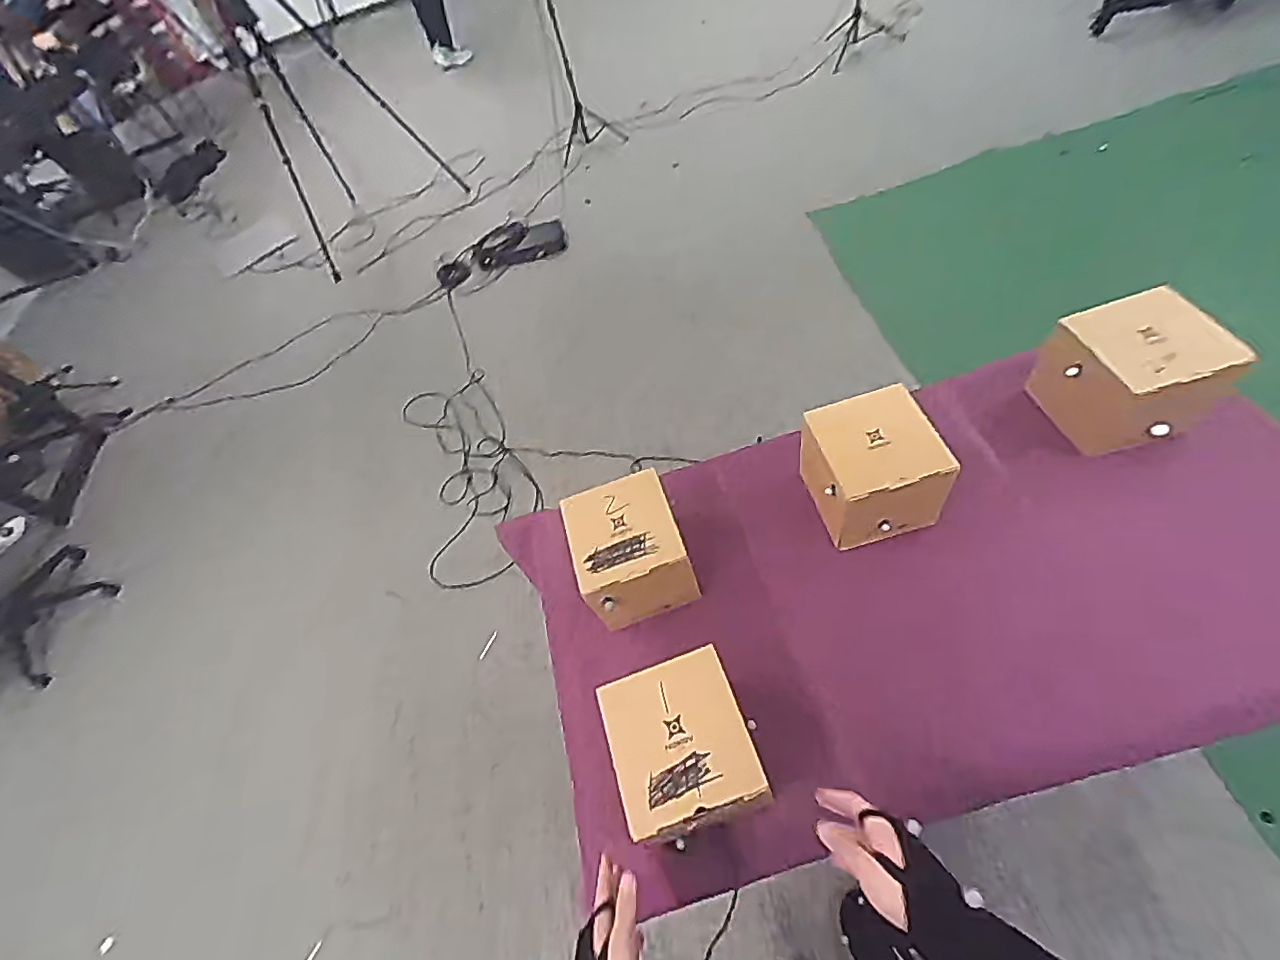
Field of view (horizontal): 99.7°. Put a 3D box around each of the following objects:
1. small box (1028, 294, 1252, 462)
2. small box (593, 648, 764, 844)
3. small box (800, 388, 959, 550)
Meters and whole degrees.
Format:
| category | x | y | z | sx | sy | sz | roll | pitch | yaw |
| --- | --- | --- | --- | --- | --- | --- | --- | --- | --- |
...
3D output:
| category | x | y | z | sx | sy | sz | roll | pitch | yaw |
| --- | --- | --- | --- | --- | --- | --- | --- | --- | --- |
| small box | 0.775 | -0.158 | 0.869 | 0.168 | 0.176 | 0.179 | -17 | 55 | 5 |
| small box | 0.055 | 0.351 | 0.707 | 0.168 | 0.176 | 0.179 | -20 | 52 | -1 |
| small box | 0.371 | -0.014 | 0.879 | 0.168 | 0.176 | 0.179 | -16 | 56 | 2 |
